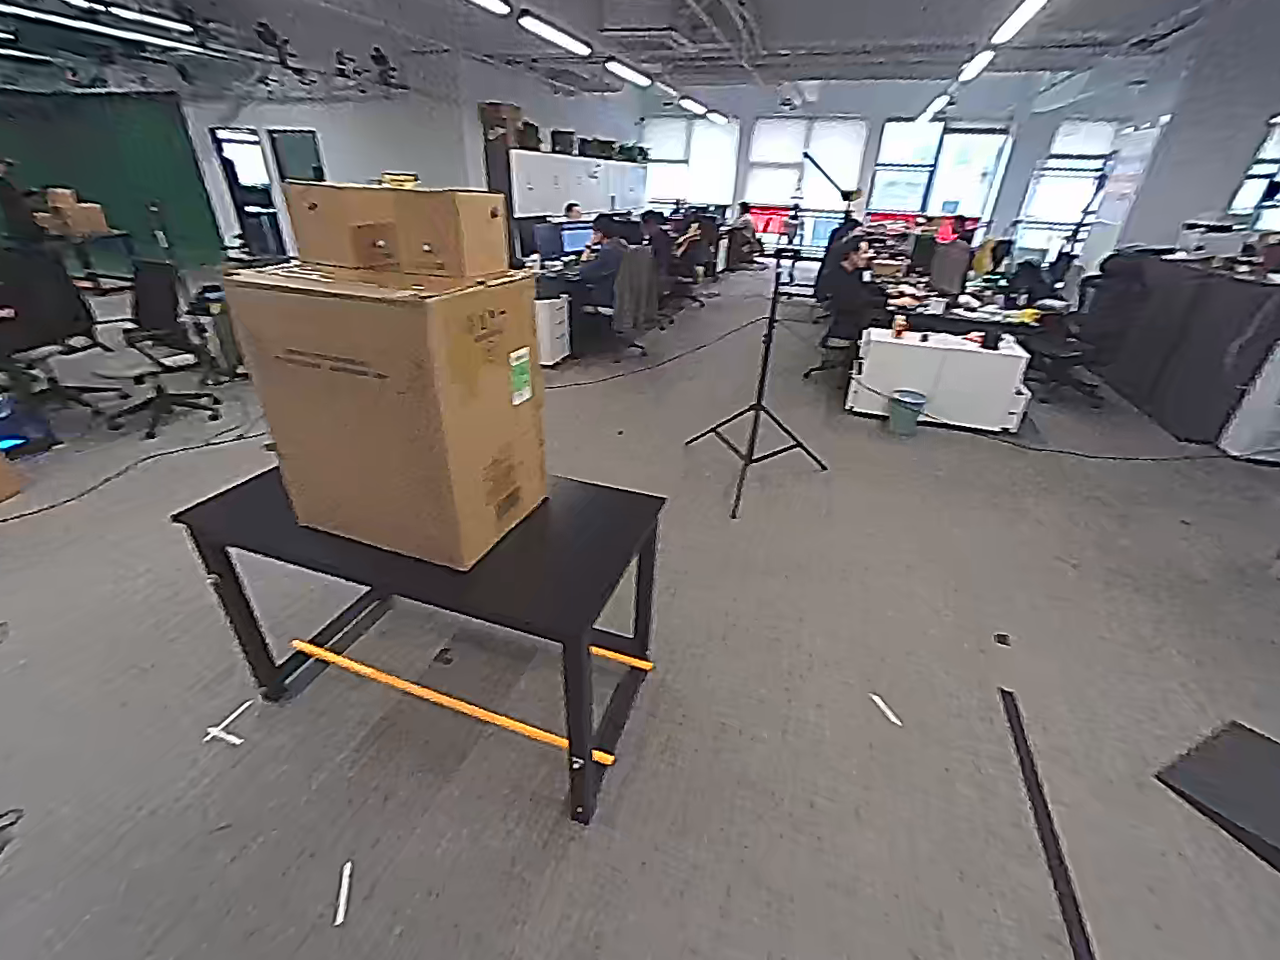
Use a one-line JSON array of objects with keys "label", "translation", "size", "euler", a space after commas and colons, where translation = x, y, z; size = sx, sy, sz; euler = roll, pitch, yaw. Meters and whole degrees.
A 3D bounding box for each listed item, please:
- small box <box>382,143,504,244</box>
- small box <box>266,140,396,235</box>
[{"label": "small box", "translation": [-0.397, -0.590, 1.122], "size": [0.168, 0.176, 0.179], "euler": [10, 28, 16]}, {"label": "small box", "translation": [-0.671, -0.640, 1.192], "size": [0.179, 0.176, 0.168], "euler": [13, 30, 16]}]
